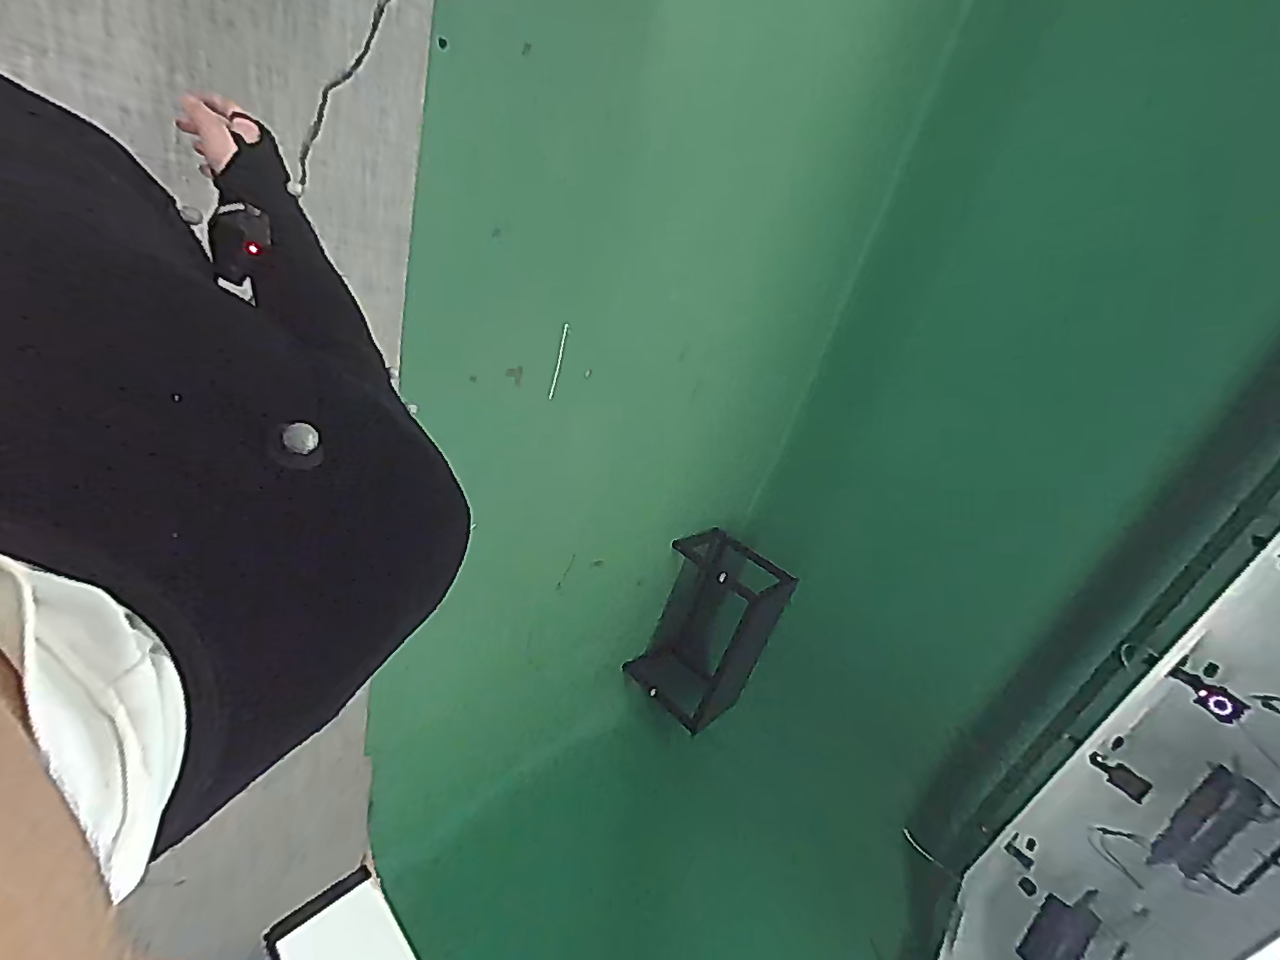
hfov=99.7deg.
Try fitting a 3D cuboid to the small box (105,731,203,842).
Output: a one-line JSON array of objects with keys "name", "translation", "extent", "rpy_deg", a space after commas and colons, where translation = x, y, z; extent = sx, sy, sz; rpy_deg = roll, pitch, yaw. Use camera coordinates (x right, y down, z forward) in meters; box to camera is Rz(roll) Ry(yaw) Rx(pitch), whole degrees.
[{"name": "small box", "translation": [-1.369, 0.851, 1.518], "extent": [0.179, 0.176, 0.168], "rpy_deg": [-3, 121, -53]}]

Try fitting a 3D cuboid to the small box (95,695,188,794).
[{"name": "small box", "translation": [-1.487, 0.778, 1.610], "extent": [0.179, 0.176, 0.168], "rpy_deg": [-2, 120, -53]}]
